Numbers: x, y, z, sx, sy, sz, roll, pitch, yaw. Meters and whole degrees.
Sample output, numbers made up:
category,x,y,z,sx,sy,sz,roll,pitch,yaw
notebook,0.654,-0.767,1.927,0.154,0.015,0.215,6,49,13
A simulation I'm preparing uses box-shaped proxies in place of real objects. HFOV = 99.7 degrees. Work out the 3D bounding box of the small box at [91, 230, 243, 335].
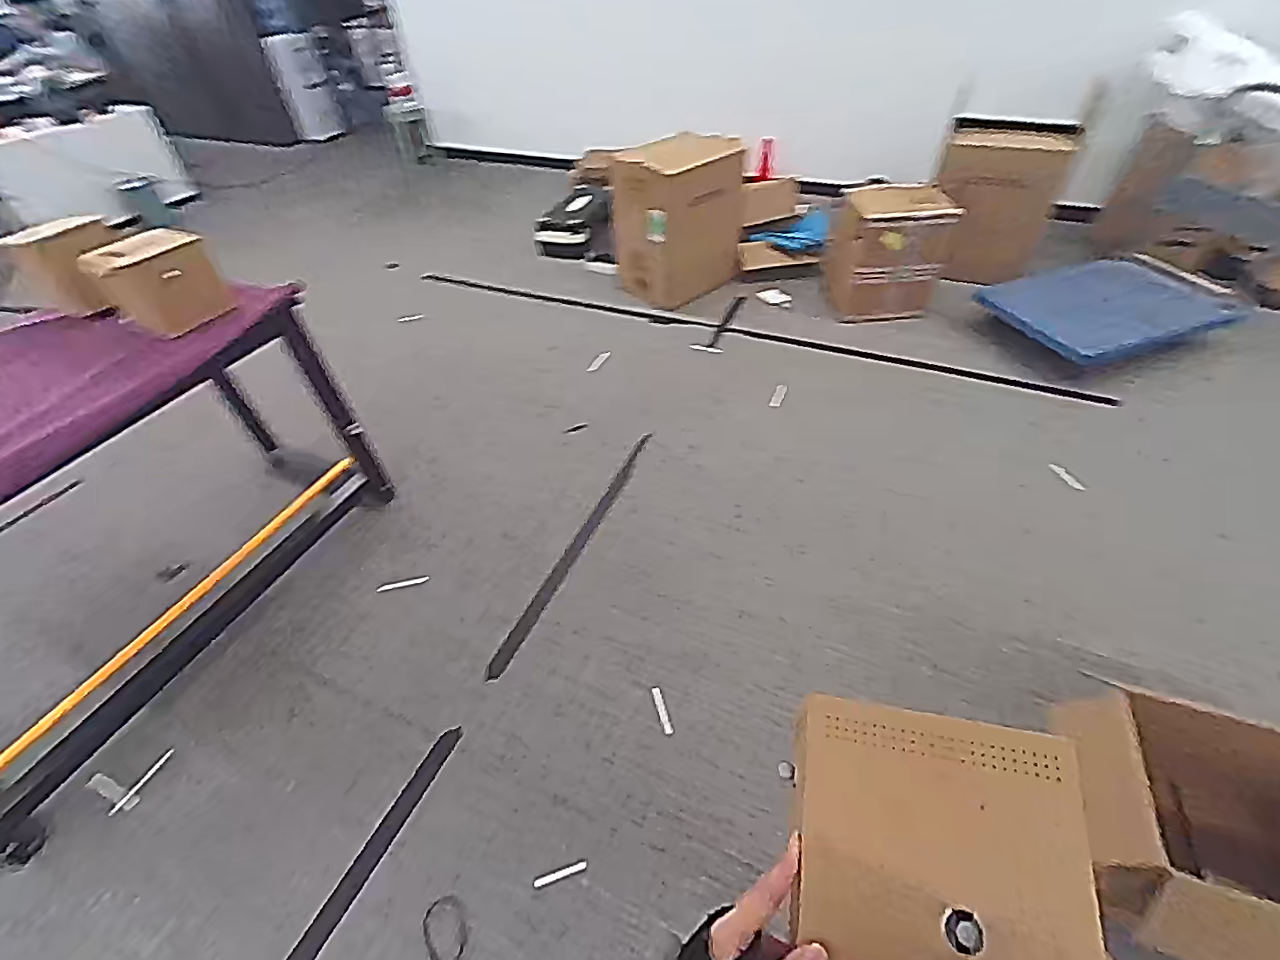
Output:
category,x,y,z,sx,sy,sz,roll,pitch,yaw
small box,-1.095,-0.462,1.268,0.168,0.176,0.179,18,49,21
